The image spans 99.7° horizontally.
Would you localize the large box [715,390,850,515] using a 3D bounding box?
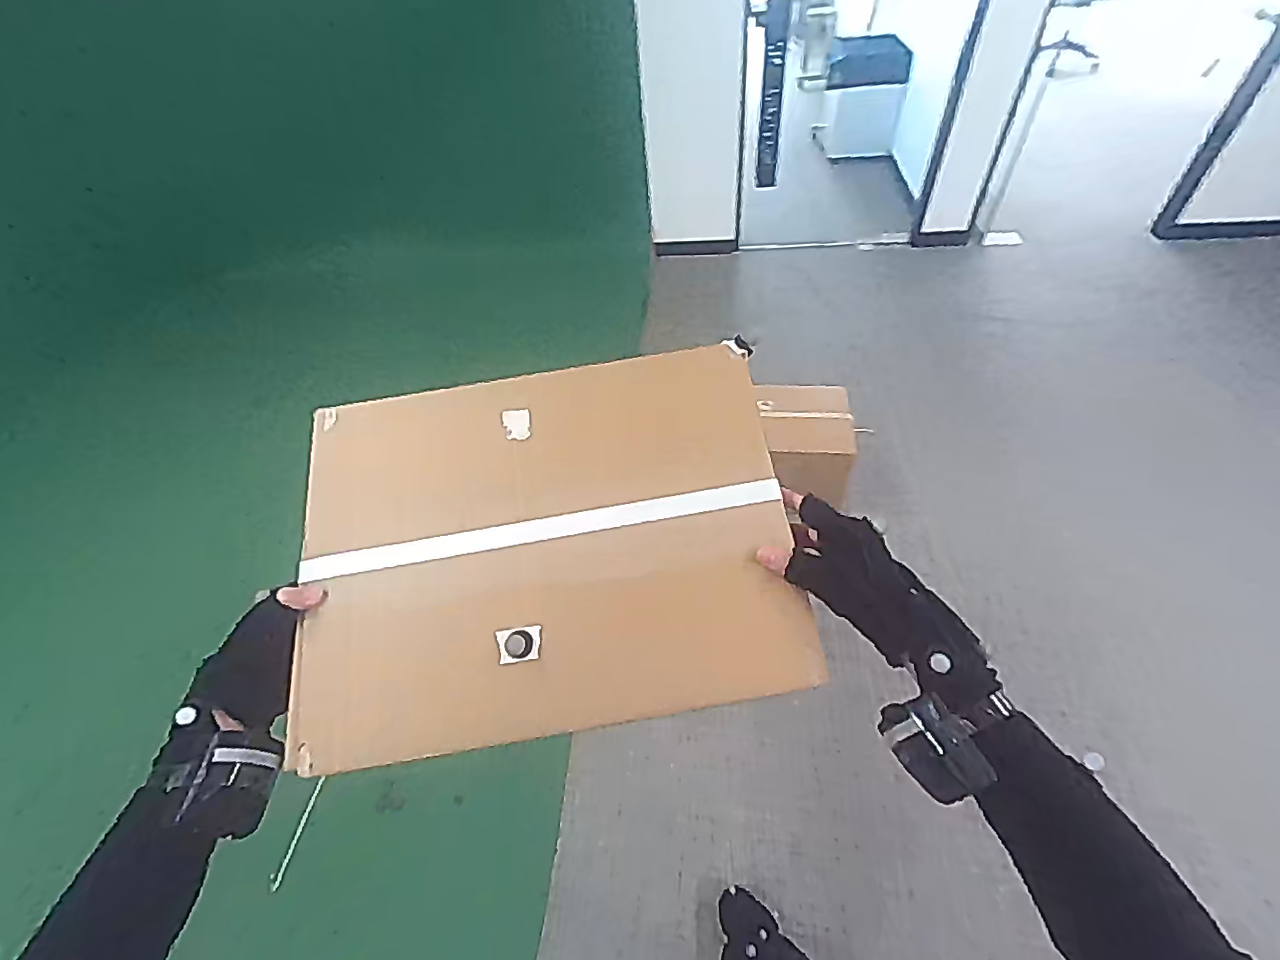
[{"bbox_3d":[0.467,-0.093,1.854,0.408,0.320,0.320,2,49,9],"label":"large box"}]
